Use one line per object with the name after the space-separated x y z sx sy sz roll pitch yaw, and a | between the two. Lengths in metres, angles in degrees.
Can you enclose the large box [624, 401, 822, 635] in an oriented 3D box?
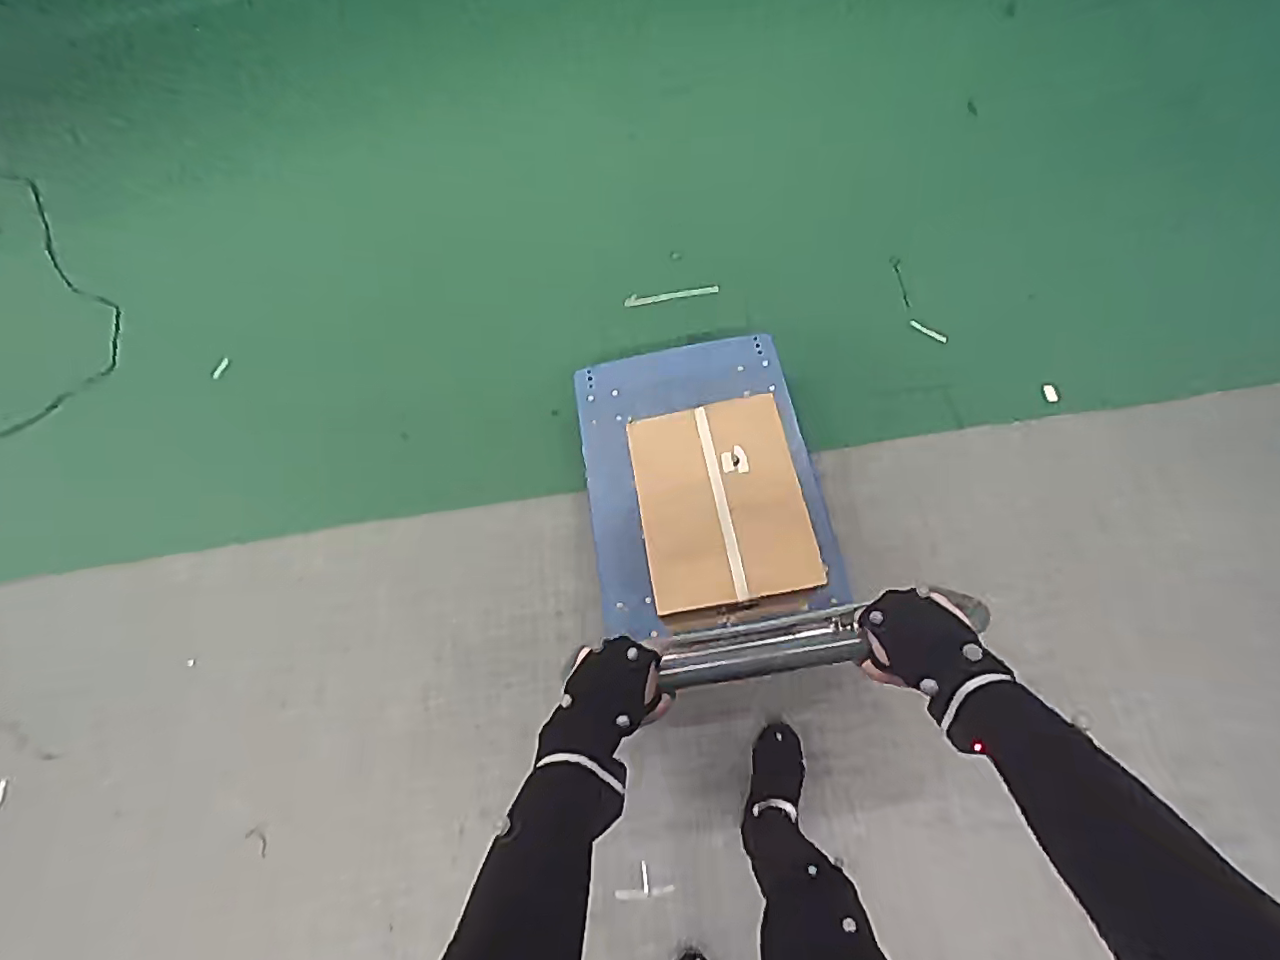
0.171 0.098 1.200 0.320 0.320 0.408 -12 67 3 | large box
